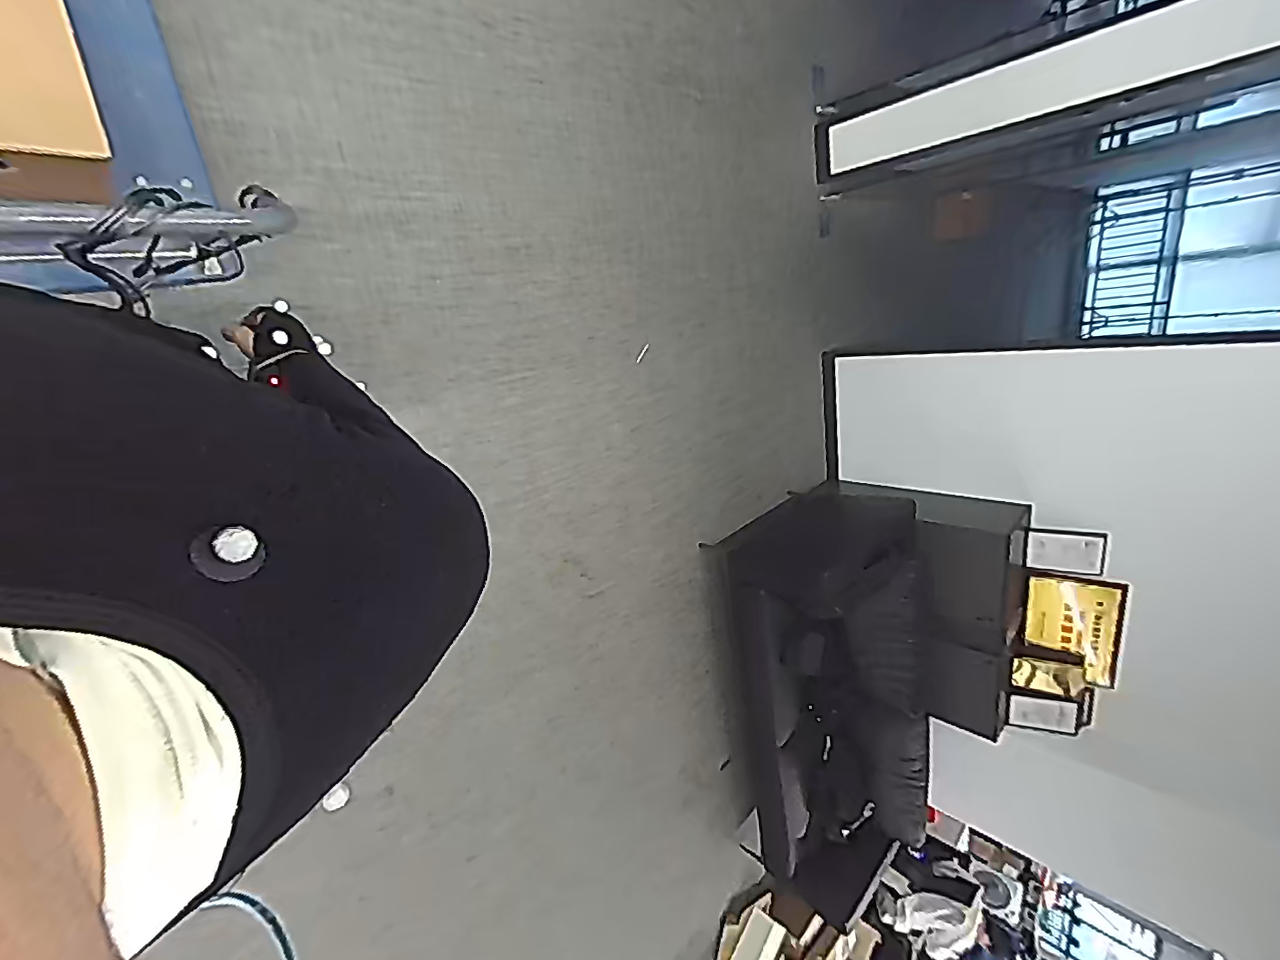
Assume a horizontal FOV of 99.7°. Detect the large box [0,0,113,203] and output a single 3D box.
[{"bbox_3d":[-1.032,-0.653,0.771,0.320,0.320,0.408,-20,110,-41],"label":"large box"}]
